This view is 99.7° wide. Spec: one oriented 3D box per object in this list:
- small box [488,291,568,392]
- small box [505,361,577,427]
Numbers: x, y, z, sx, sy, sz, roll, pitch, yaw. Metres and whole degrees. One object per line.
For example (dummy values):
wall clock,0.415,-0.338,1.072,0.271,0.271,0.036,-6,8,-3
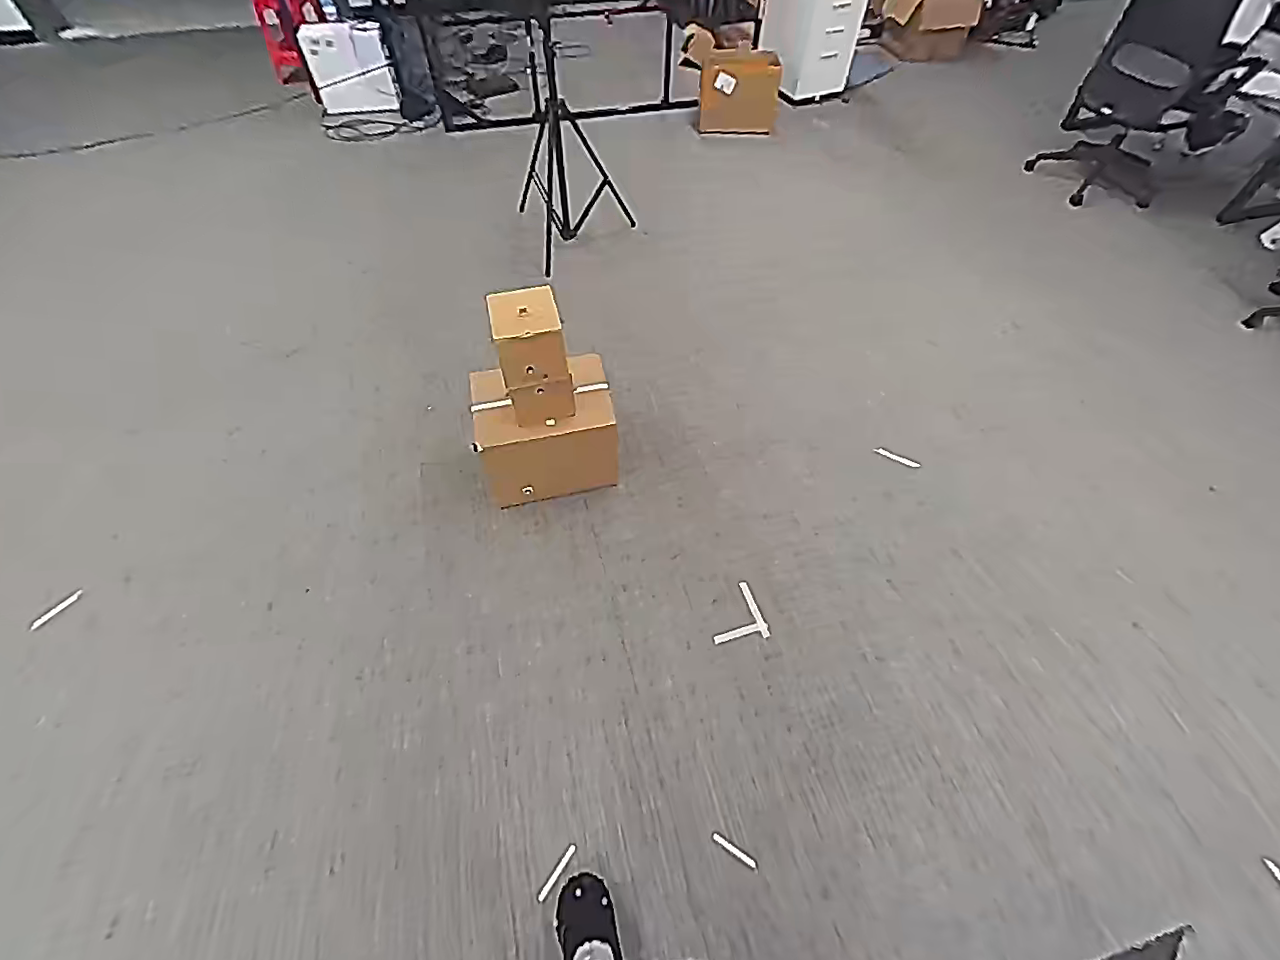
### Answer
small box,-0.286,-0.356,1.398,0.168,0.176,0.179,-13,57,-9
small box,-0.286,-0.271,1.536,0.179,0.176,0.168,-13,57,-11
